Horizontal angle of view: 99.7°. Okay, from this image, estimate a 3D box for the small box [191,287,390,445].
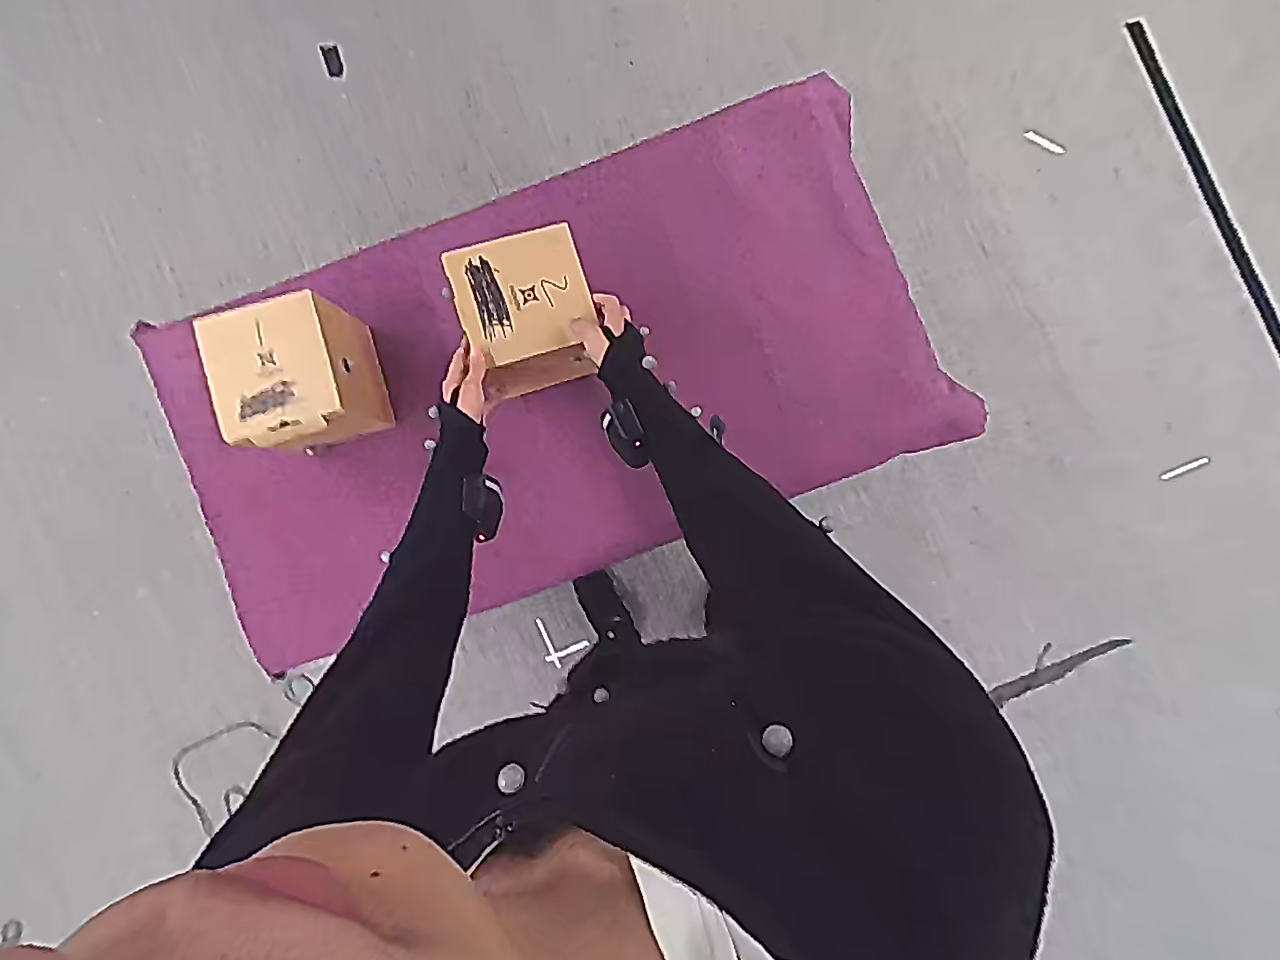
[{"bbox_3d":[-0.502,-0.155,0.805,0.168,0.176,0.179,-16,89,-2],"label":"small box"}]
